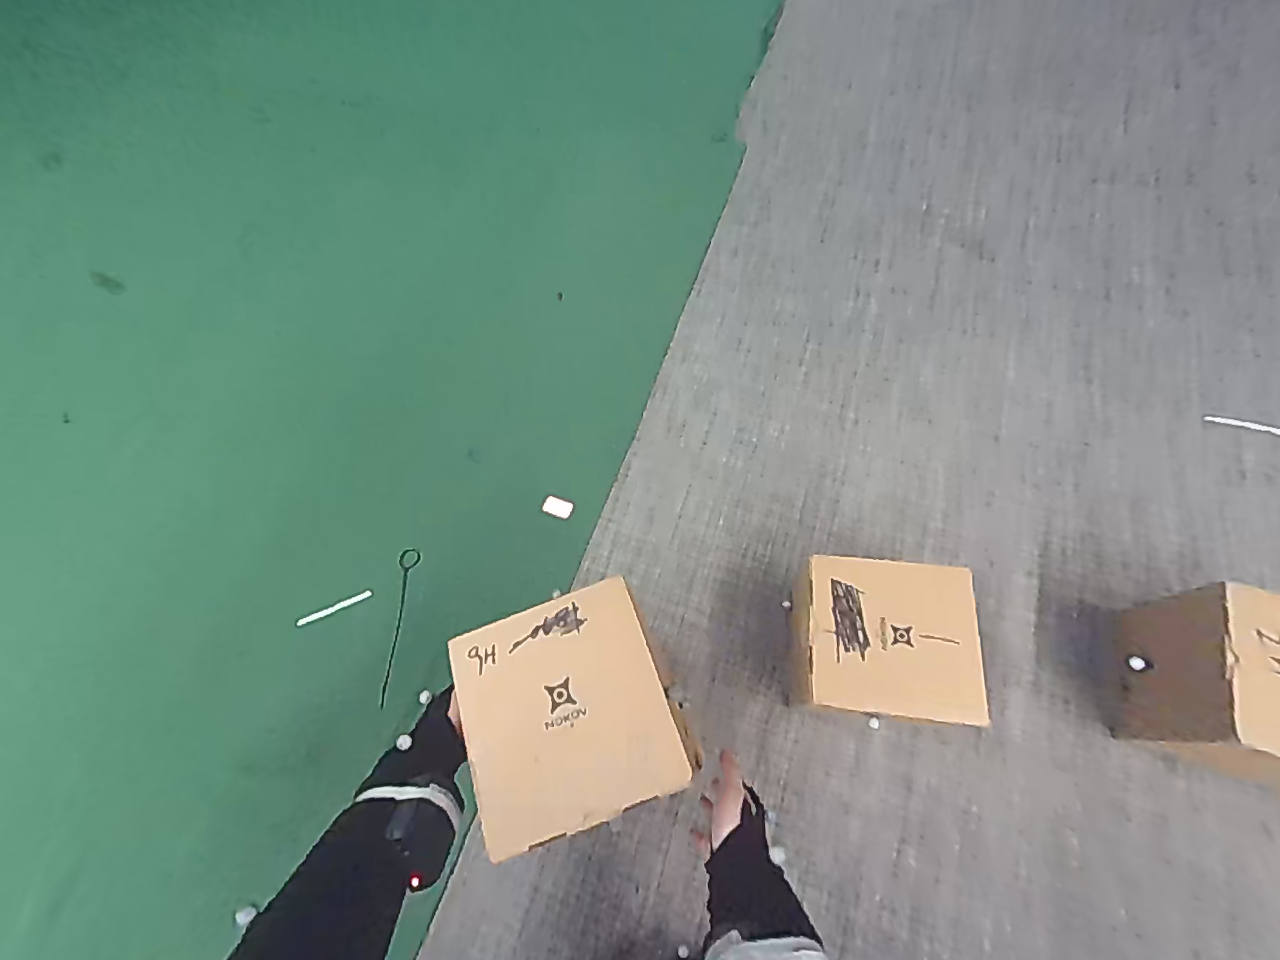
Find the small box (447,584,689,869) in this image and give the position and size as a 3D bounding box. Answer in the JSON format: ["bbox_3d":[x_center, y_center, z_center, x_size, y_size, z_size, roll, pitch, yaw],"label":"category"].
[{"bbox_3d":[-0.057,0.222,0.511,0.168,0.176,0.179,-20,64,-3],"label":"small box"}]

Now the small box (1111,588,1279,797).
[{"bbox_3d":[0.671,0.238,0.588,0.179,0.176,0.168,16,68,14],"label":"small box"}]
